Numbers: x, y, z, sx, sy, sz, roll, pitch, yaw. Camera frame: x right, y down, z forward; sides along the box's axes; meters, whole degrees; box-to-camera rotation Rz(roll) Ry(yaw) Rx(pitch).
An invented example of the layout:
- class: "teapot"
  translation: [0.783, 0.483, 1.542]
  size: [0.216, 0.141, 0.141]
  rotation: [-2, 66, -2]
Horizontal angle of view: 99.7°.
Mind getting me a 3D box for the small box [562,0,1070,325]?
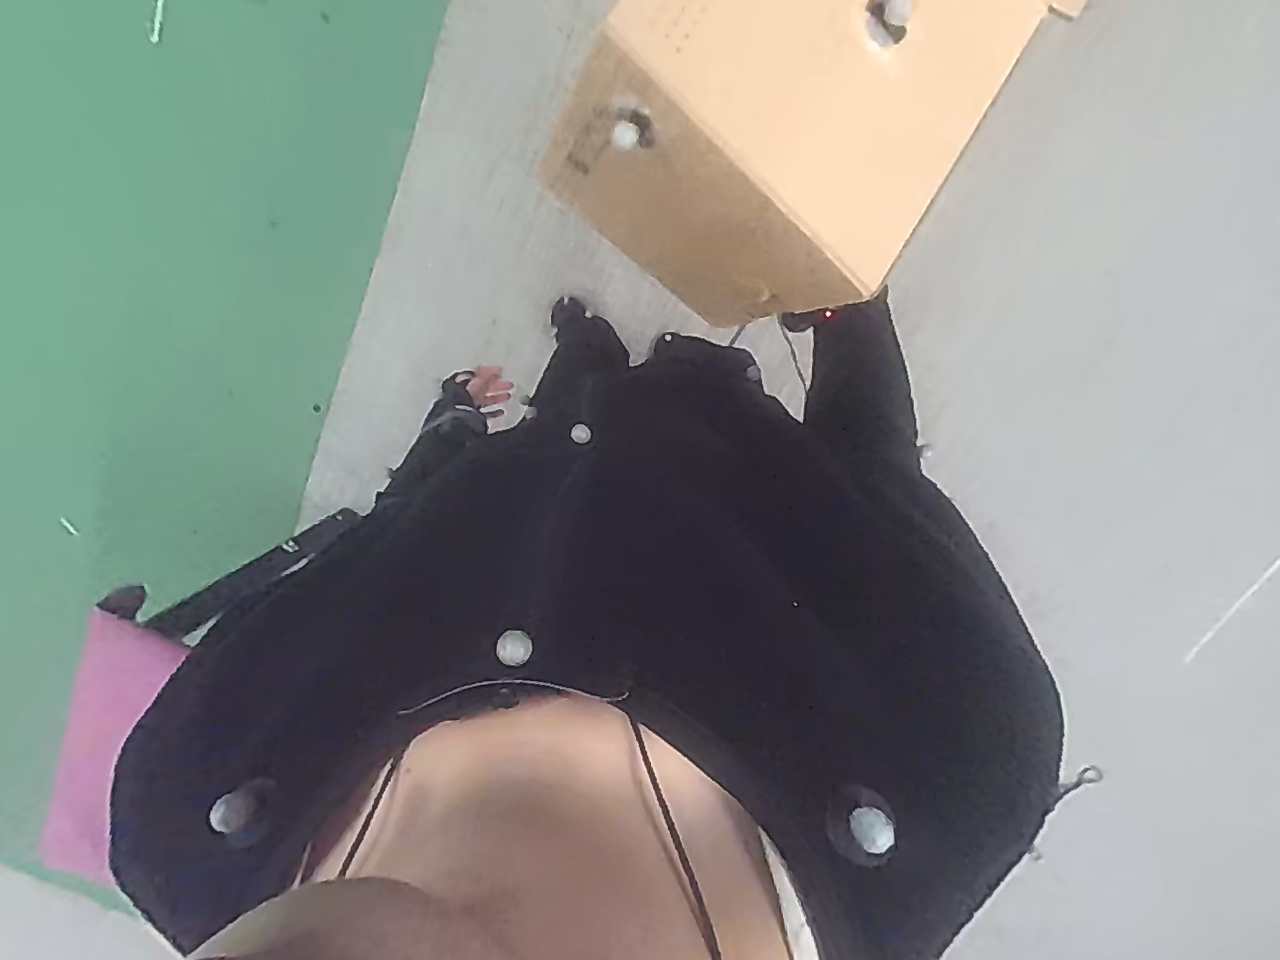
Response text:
- class: "small box"
  translation: [0.079, -0.218, 0.306]
  size: [0.176, 0.168, 0.179]
  rotation: [33, 87, -23]
